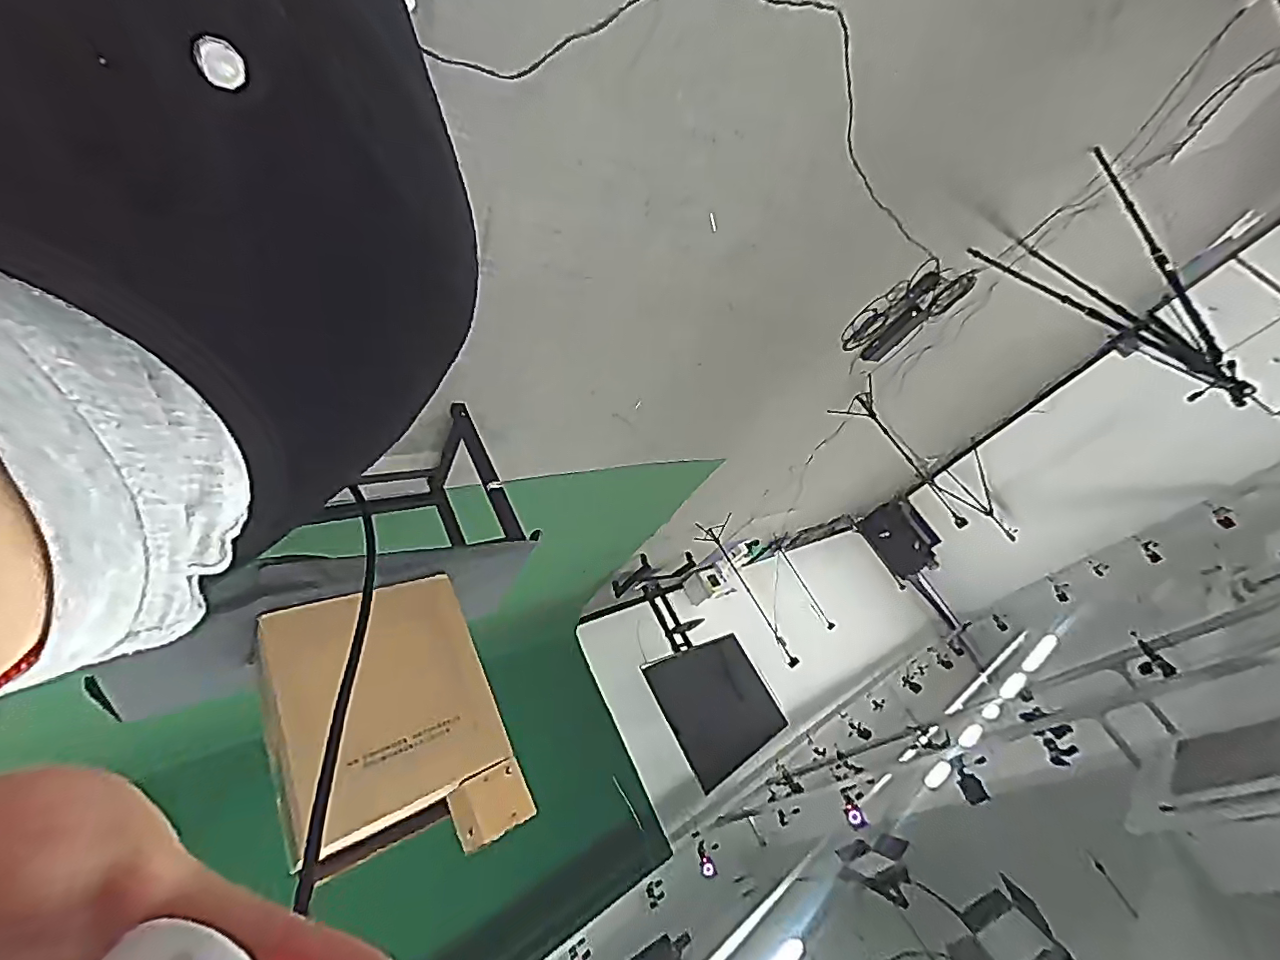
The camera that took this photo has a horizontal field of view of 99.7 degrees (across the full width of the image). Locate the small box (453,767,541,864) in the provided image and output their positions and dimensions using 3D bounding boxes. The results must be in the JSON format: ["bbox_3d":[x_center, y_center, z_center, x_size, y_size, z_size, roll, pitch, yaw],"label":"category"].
[{"bbox_3d":[-0.420,0.962,1.562,0.168,0.176,0.179,-8,149,-43],"label":"small box"}]
